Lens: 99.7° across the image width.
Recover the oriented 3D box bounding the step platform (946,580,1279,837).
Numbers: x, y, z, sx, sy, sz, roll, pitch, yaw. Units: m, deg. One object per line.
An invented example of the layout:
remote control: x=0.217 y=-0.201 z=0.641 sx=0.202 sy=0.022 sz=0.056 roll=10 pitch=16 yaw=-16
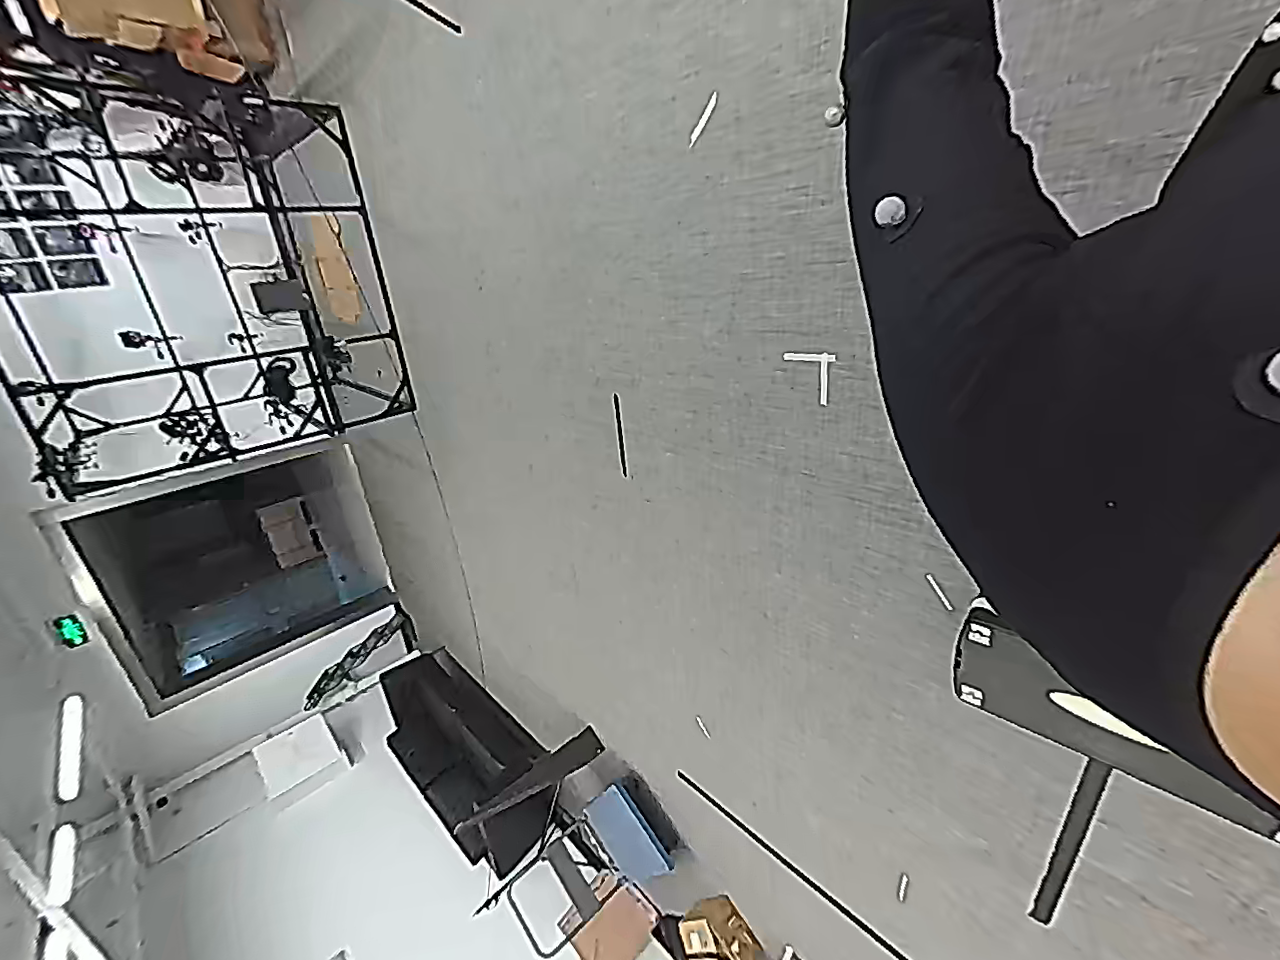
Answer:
step platform: x=1.105 y=0.487 z=1.258 sx=0.684 sy=0.204 sz=0.286 roll=17 pitch=122 yaw=46
